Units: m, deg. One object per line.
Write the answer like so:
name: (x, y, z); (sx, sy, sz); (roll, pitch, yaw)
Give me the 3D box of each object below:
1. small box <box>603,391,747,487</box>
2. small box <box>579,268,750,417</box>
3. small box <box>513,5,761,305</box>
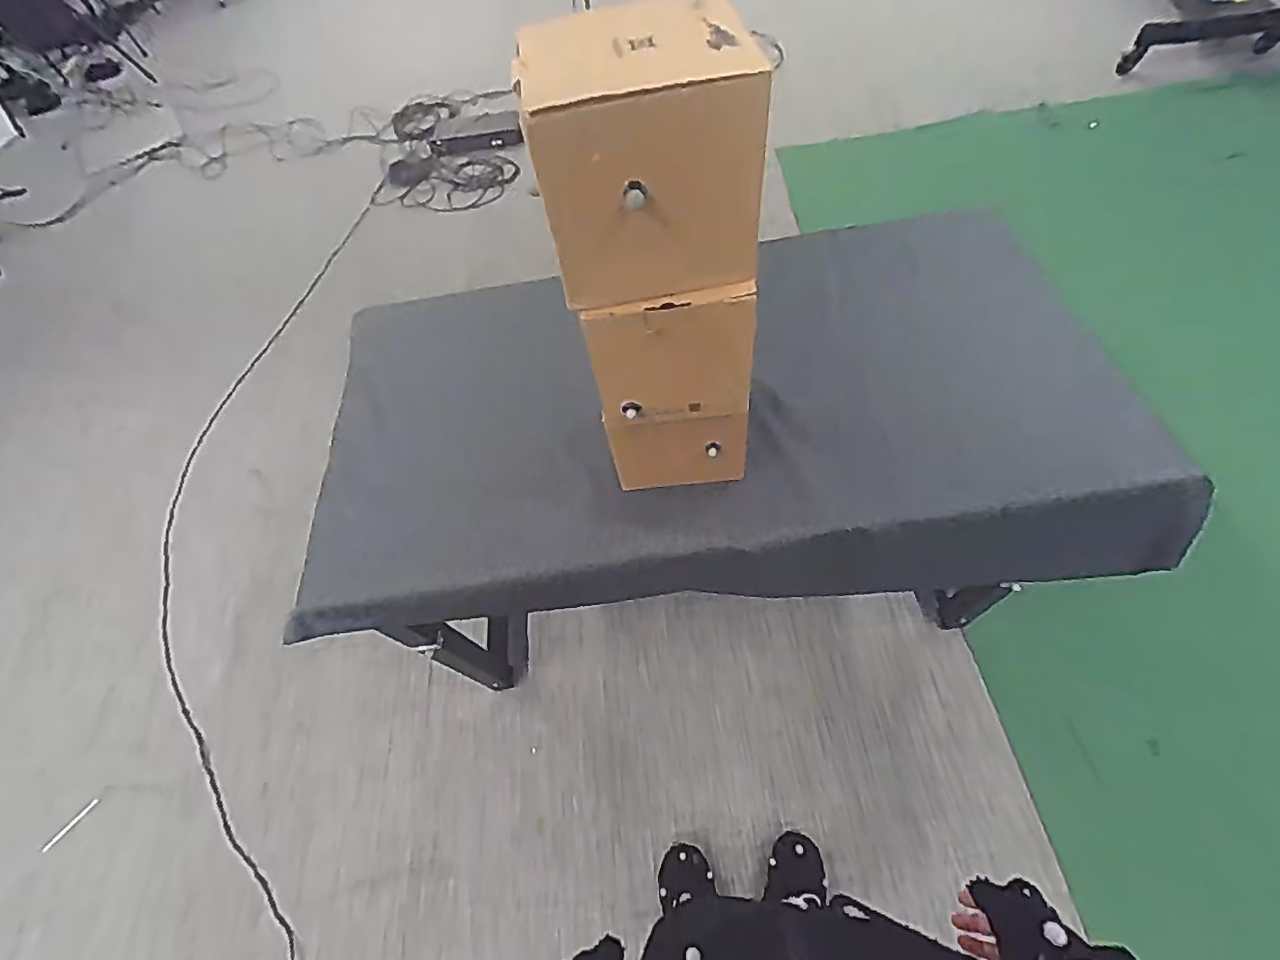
small box: (0.048, -0.107, 0.756); (0.179, 0.176, 0.168); (-7, 57, 6)
small box: (0.026, -0.187, 0.615); (0.168, 0.176, 0.179); (-9, 59, 3)
small box: (-0.002, -0.283, 0.488); (0.179, 0.176, 0.168); (-13, 55, -1)
